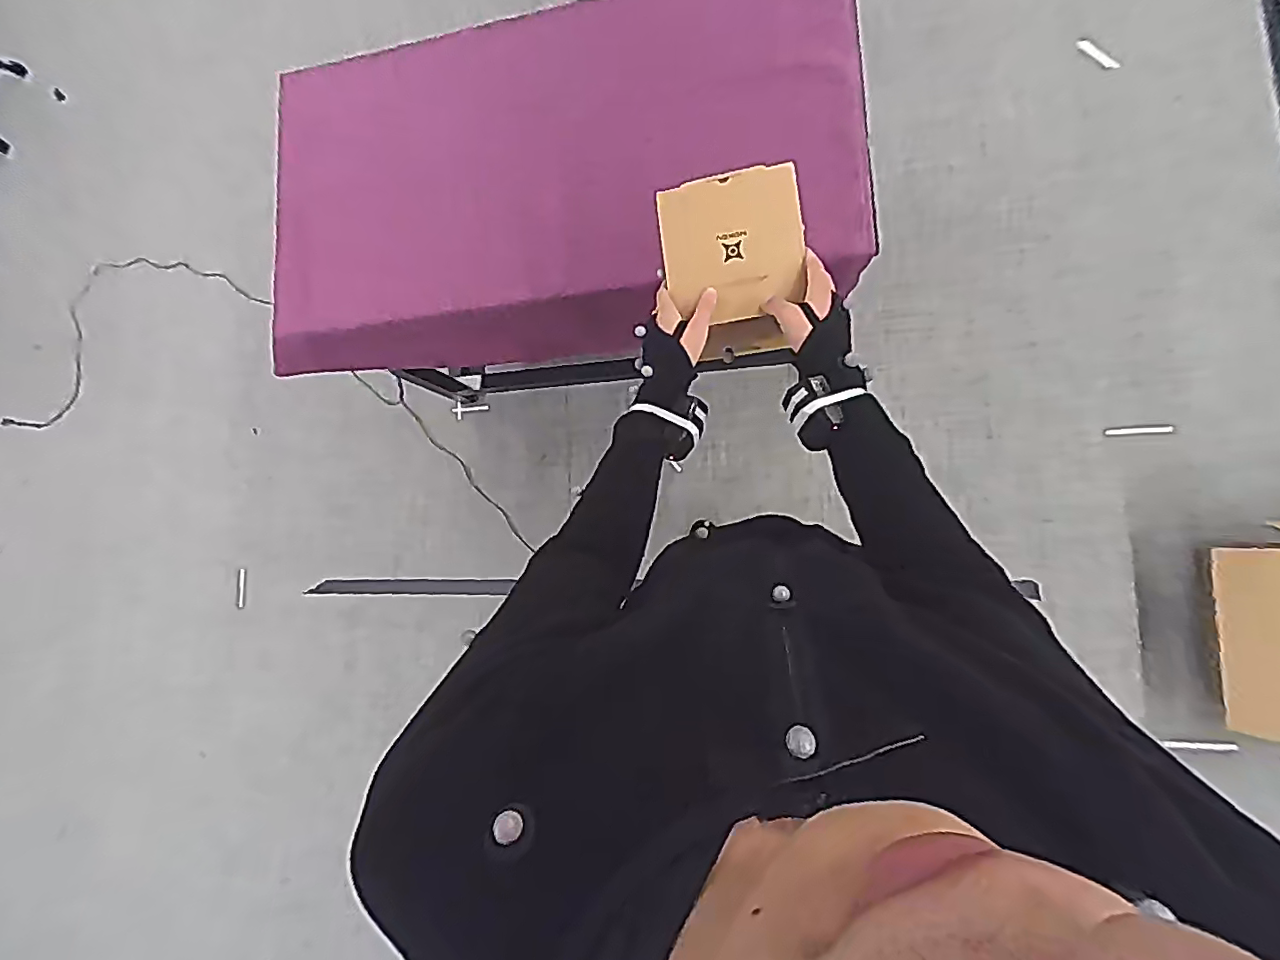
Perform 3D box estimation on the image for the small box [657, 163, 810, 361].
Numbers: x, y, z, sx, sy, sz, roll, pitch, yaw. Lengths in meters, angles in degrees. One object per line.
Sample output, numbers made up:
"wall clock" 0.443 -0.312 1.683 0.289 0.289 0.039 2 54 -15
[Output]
"small box" 0.120 -0.274 0.718 0.168 0.176 0.179 -7 87 10
